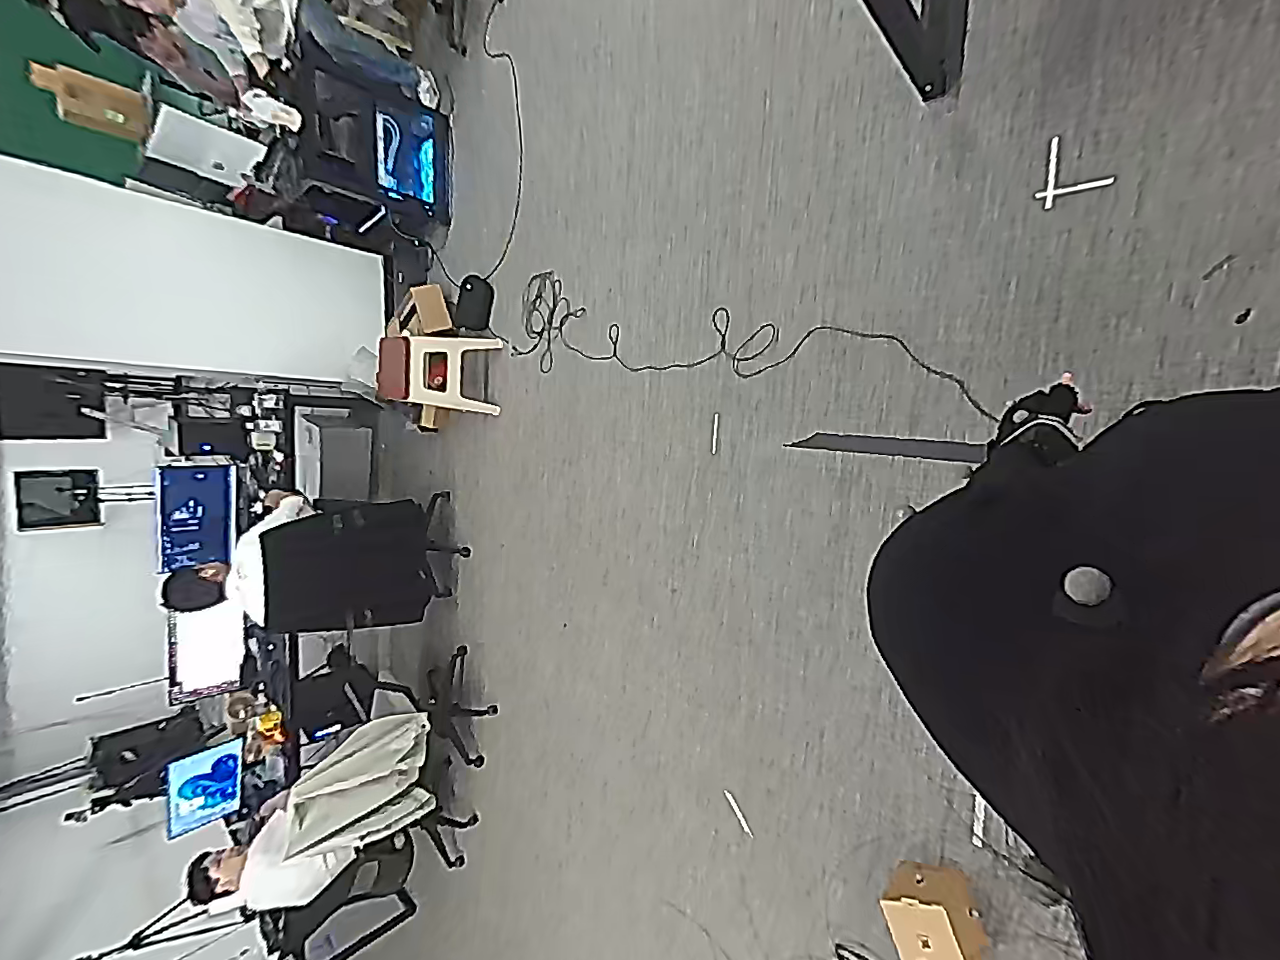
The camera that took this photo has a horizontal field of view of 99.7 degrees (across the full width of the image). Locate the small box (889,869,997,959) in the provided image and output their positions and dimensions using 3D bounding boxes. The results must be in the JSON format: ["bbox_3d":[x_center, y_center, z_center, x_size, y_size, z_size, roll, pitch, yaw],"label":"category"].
[{"bbox_3d":[0.768,1.125,1.368,0.168,0.176,0.179,-29,72,41],"label":"small box"}]
